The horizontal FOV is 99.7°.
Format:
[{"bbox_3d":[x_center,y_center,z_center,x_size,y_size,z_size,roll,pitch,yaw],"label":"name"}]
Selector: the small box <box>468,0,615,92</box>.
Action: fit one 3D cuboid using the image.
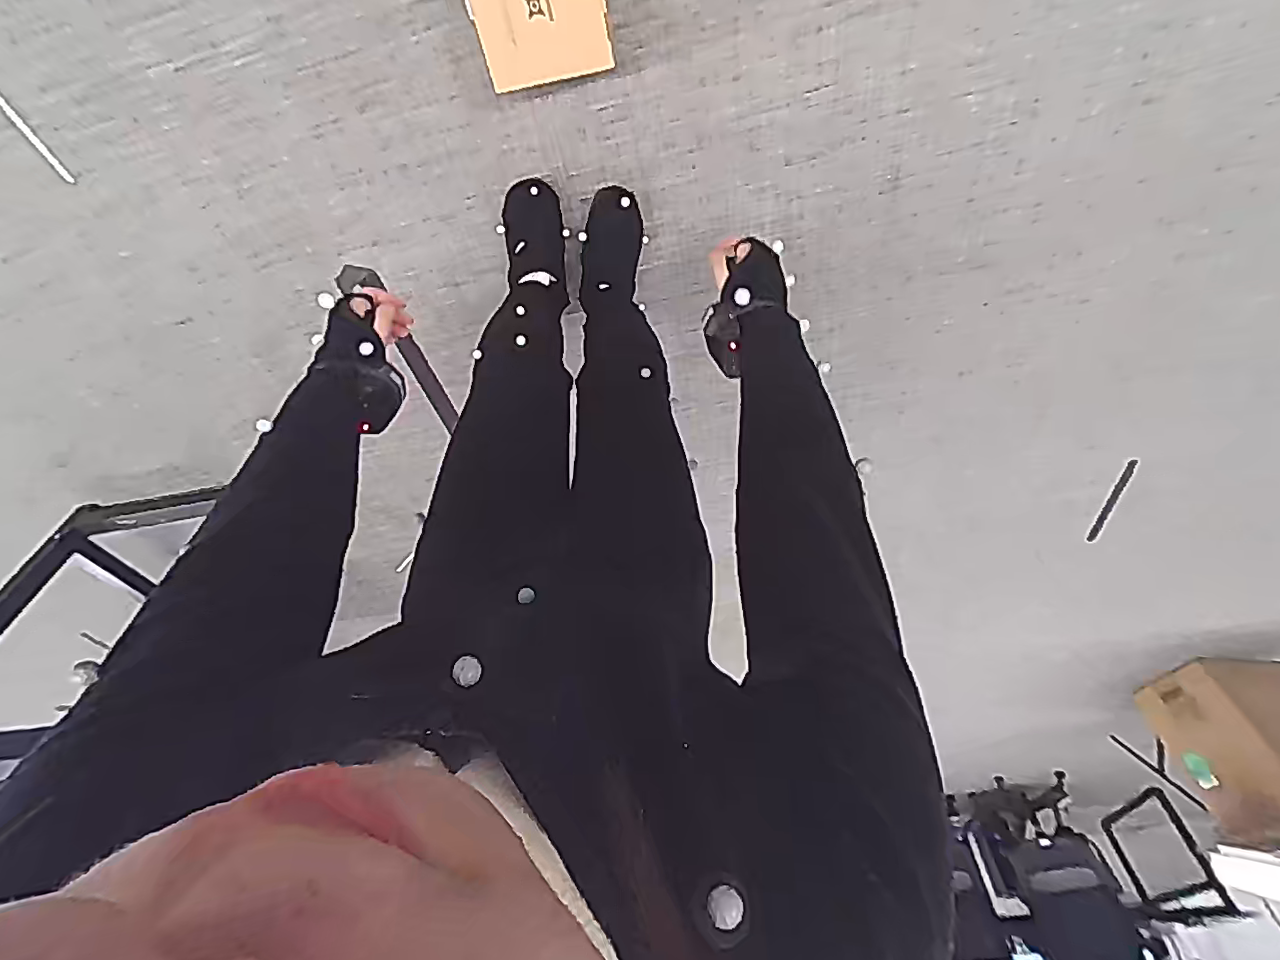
[{"bbox_3d":[-0.135,-0.668,0.750,0.179,0.176,0.168,-7,135,6],"label":"small box"}]
